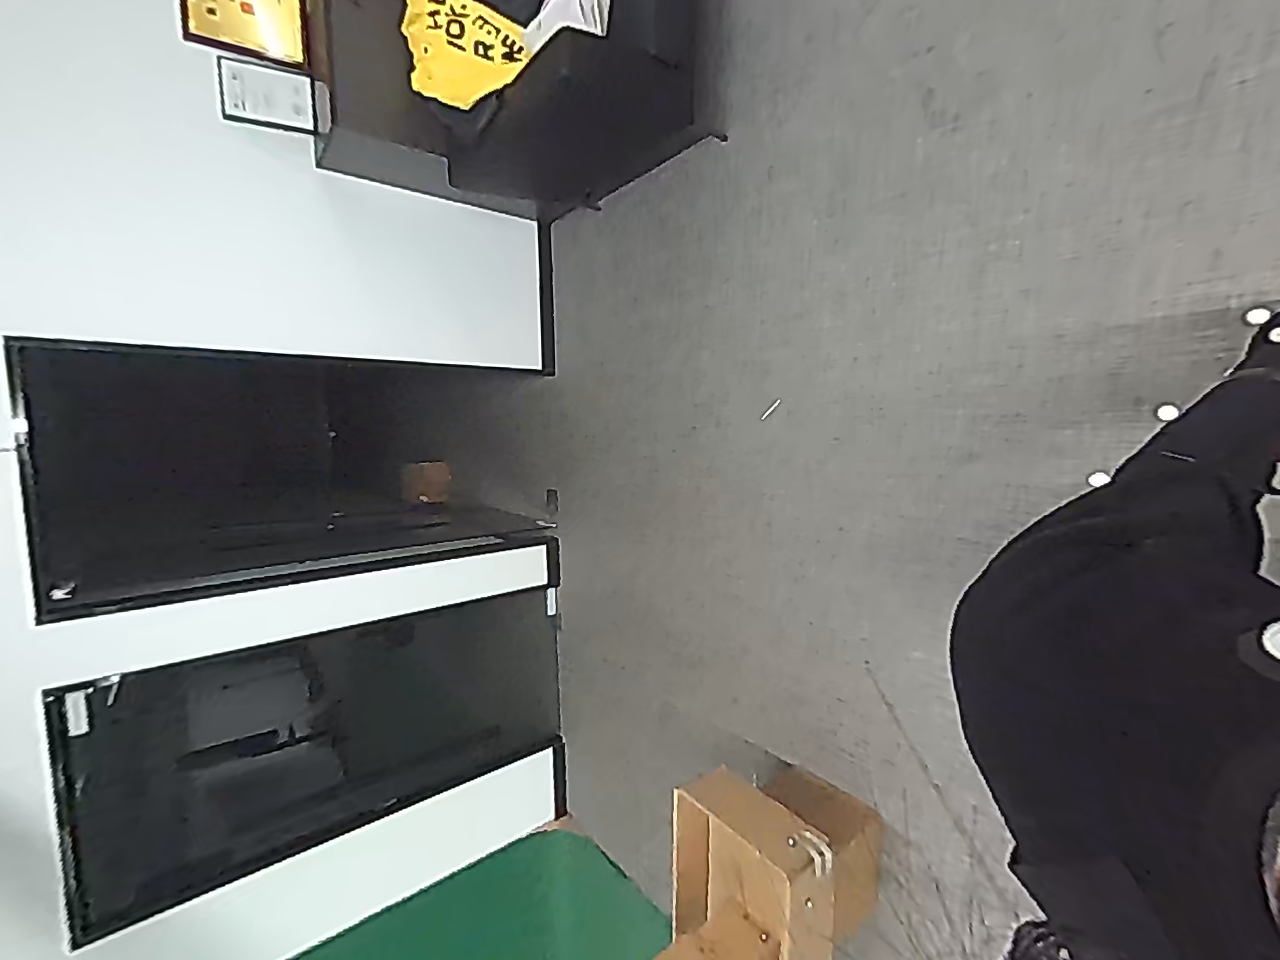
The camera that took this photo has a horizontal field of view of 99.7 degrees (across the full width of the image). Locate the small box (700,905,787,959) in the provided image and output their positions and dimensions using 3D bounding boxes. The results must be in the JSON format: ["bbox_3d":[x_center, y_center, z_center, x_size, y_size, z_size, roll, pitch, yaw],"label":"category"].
[{"bbox_3d":[0.278,1.310,1.454,0.168,0.176,0.179,10,101,52],"label":"small box"}]
